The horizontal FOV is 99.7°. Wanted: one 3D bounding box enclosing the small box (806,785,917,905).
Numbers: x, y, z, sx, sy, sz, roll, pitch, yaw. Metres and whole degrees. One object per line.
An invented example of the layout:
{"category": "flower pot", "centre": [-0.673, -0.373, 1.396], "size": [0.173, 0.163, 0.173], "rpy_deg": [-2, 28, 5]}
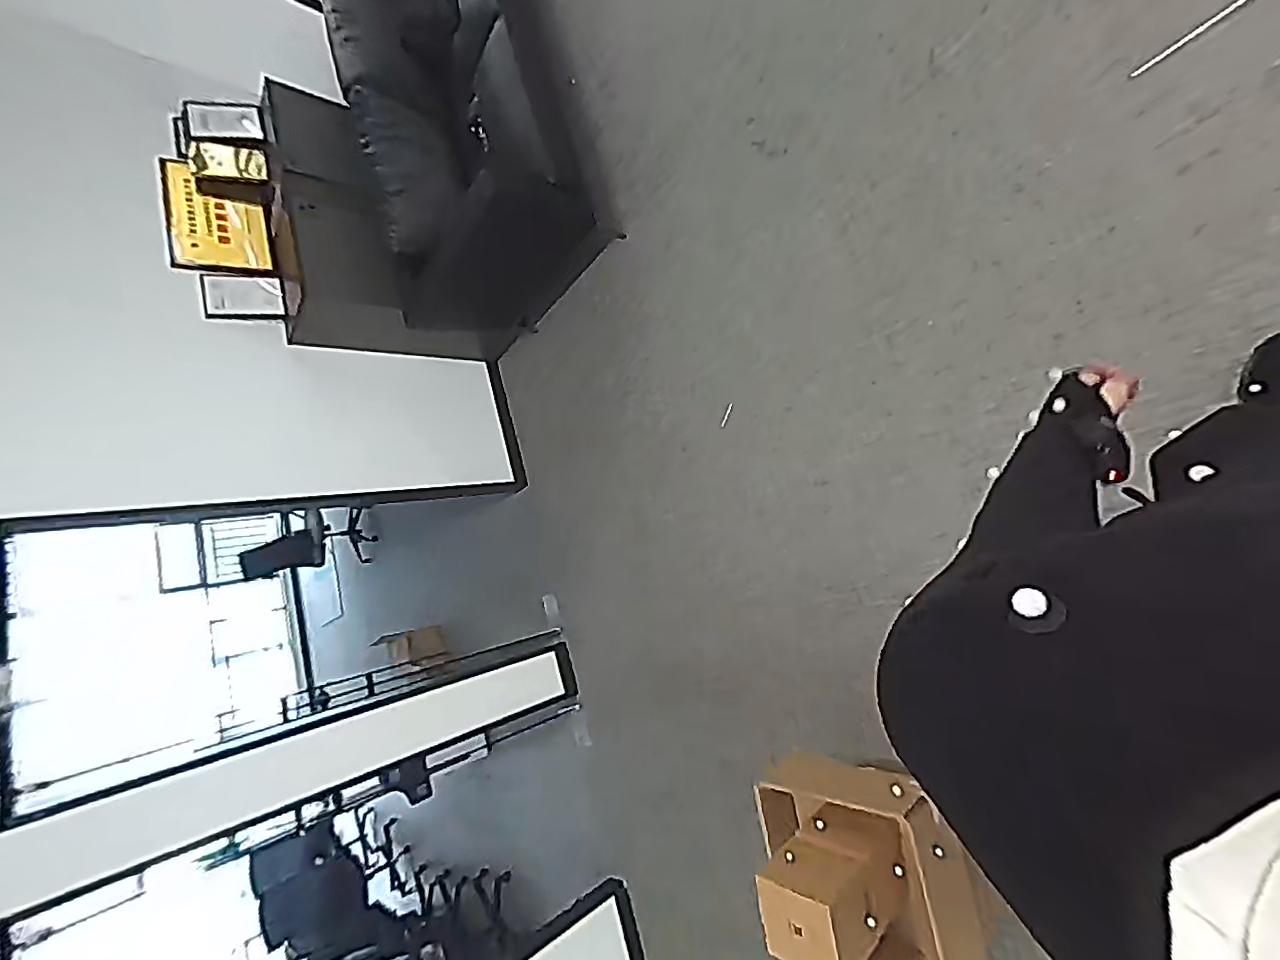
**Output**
{"category": "small box", "centre": [0.526, 0.858, 1.286], "size": [0.179, 0.176, 0.168], "rpy_deg": [-12, 86, 48]}

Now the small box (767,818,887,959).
{"category": "small box", "centre": [0.406, 0.876, 1.177], "size": [0.179, 0.176, 0.168], "rpy_deg": [-13, 85, 48]}
